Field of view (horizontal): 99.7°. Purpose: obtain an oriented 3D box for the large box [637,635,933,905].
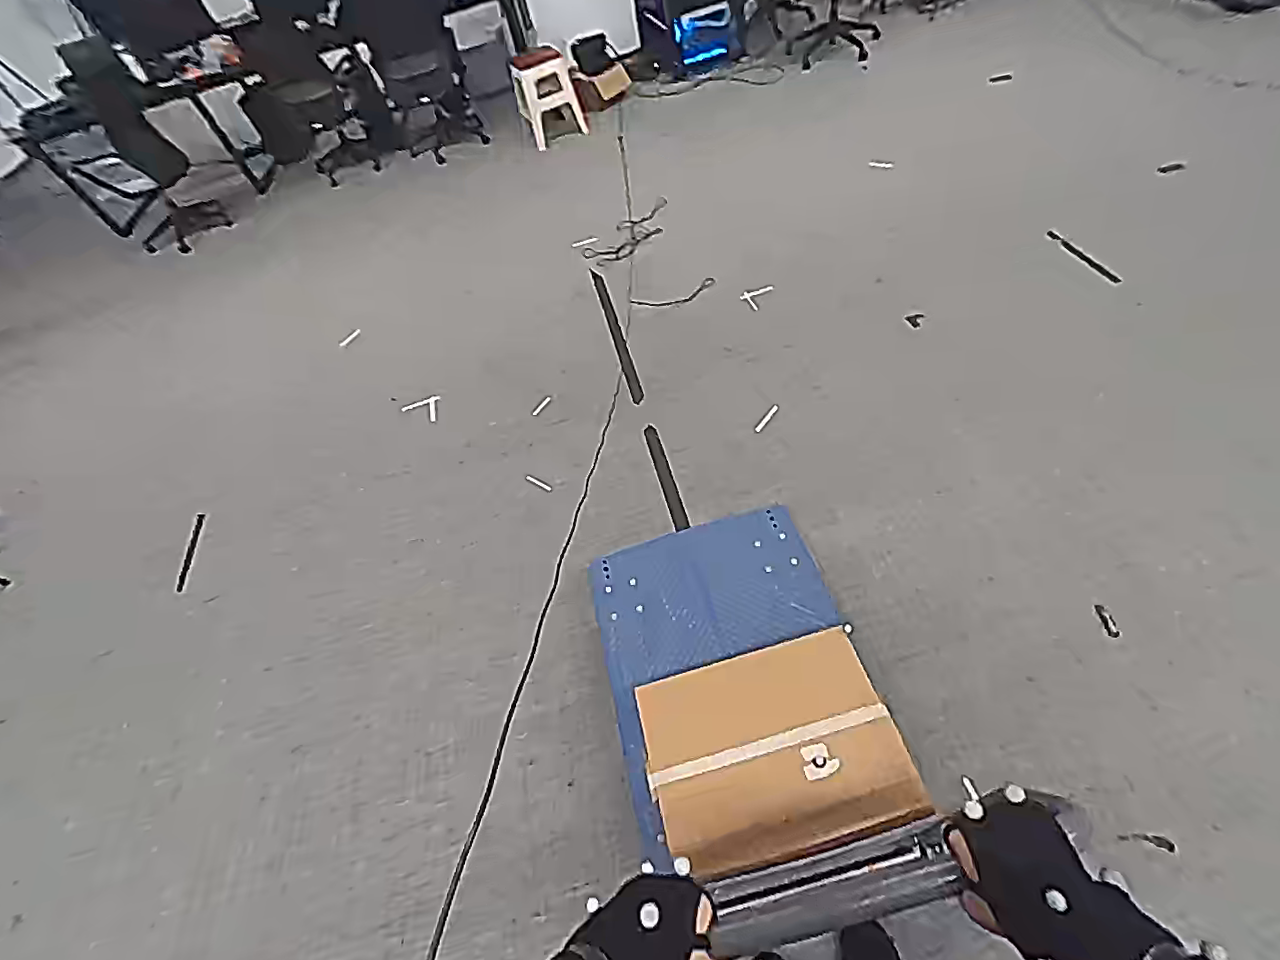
[{"bbox_3d":[0.241,0.545,1.007,0.408,0.320,0.320,-17,51,0],"label":"large box"}]
